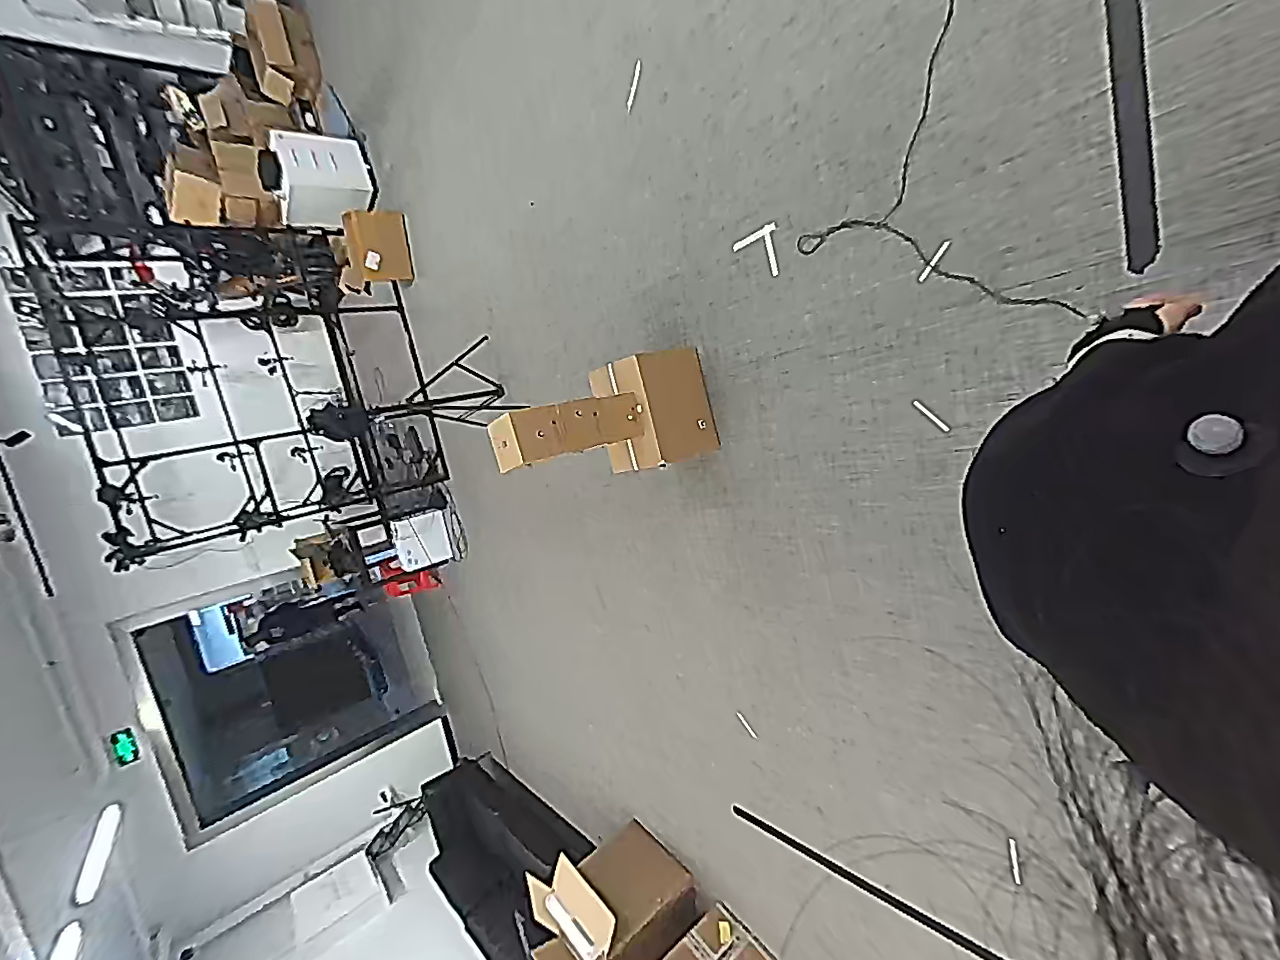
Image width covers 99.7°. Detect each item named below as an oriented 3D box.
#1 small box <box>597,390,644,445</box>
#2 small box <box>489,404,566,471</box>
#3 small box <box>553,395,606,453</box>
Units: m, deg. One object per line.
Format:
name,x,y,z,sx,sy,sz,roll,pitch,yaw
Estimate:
small box,-0.112,-0.220,1.945,0.179,0.176,0.168,-8,98,51
small box,-0.356,-0.139,1.744,0.179,0.176,0.168,-17,90,52
small box,-0.231,-0.184,1.841,0.179,0.176,0.168,-10,96,53
